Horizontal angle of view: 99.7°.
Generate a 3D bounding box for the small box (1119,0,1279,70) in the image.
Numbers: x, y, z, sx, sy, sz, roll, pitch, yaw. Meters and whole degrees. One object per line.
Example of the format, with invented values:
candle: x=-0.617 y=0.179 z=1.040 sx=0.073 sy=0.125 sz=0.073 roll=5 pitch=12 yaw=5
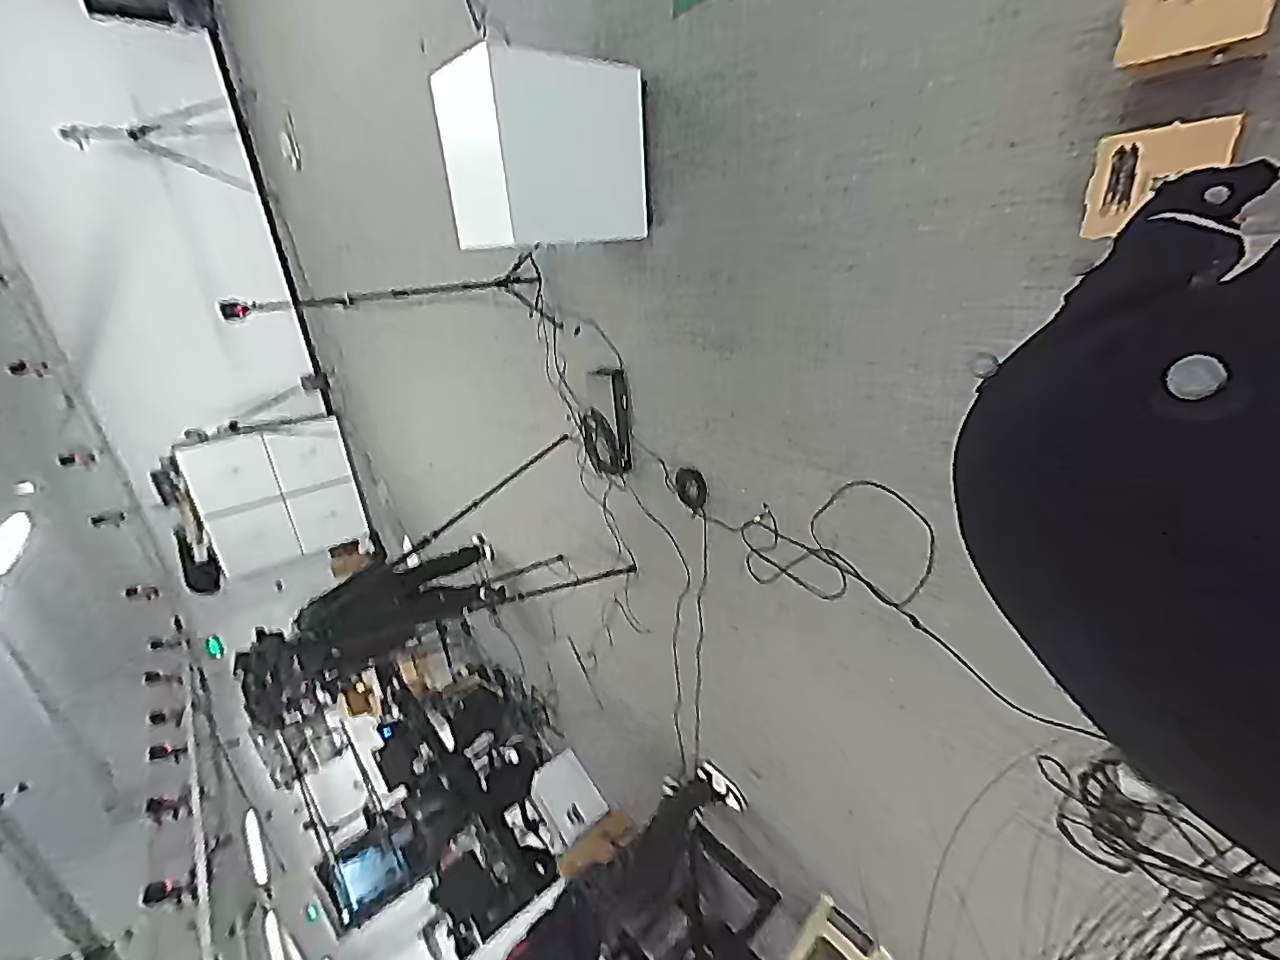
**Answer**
small box: x=0.909 y=-0.780 z=0.855 sx=0.179 sy=0.176 sz=0.168 roll=21 pitch=123 yaw=46
